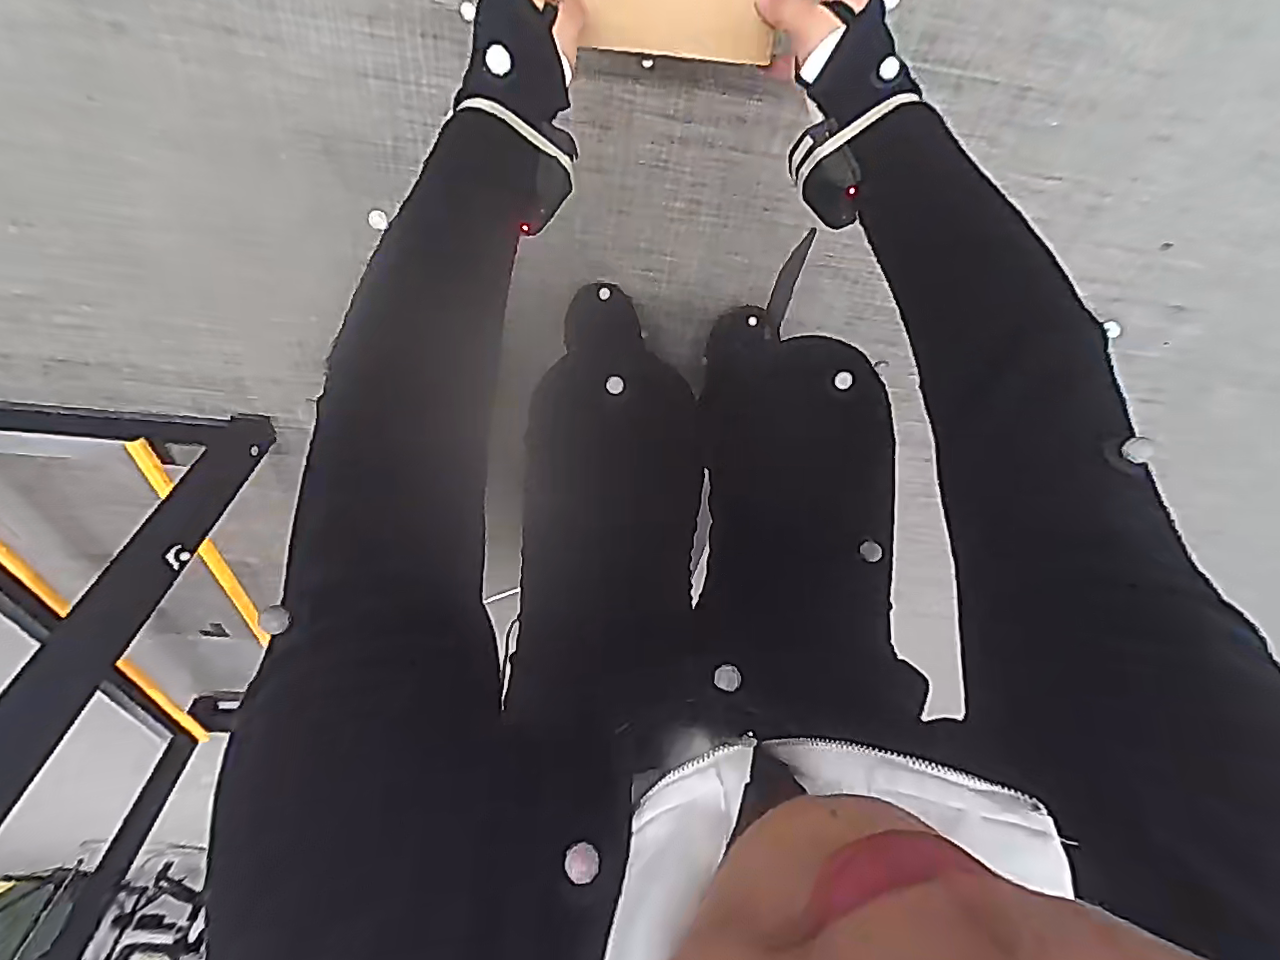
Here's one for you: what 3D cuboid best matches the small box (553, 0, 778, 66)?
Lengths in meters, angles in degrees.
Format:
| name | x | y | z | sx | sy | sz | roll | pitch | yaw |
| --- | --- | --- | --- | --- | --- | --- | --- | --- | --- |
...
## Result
| name | x | y | z | sx | sy | sz | roll | pitch | yaw |
| --- | --- | --- | --- | --- | --- | --- | --- | --- | --- |
| small box | 0.024 | -0.461 | 0.443 | 0.179 | 0.176 | 0.168 | 3 | 135 | -5 |
